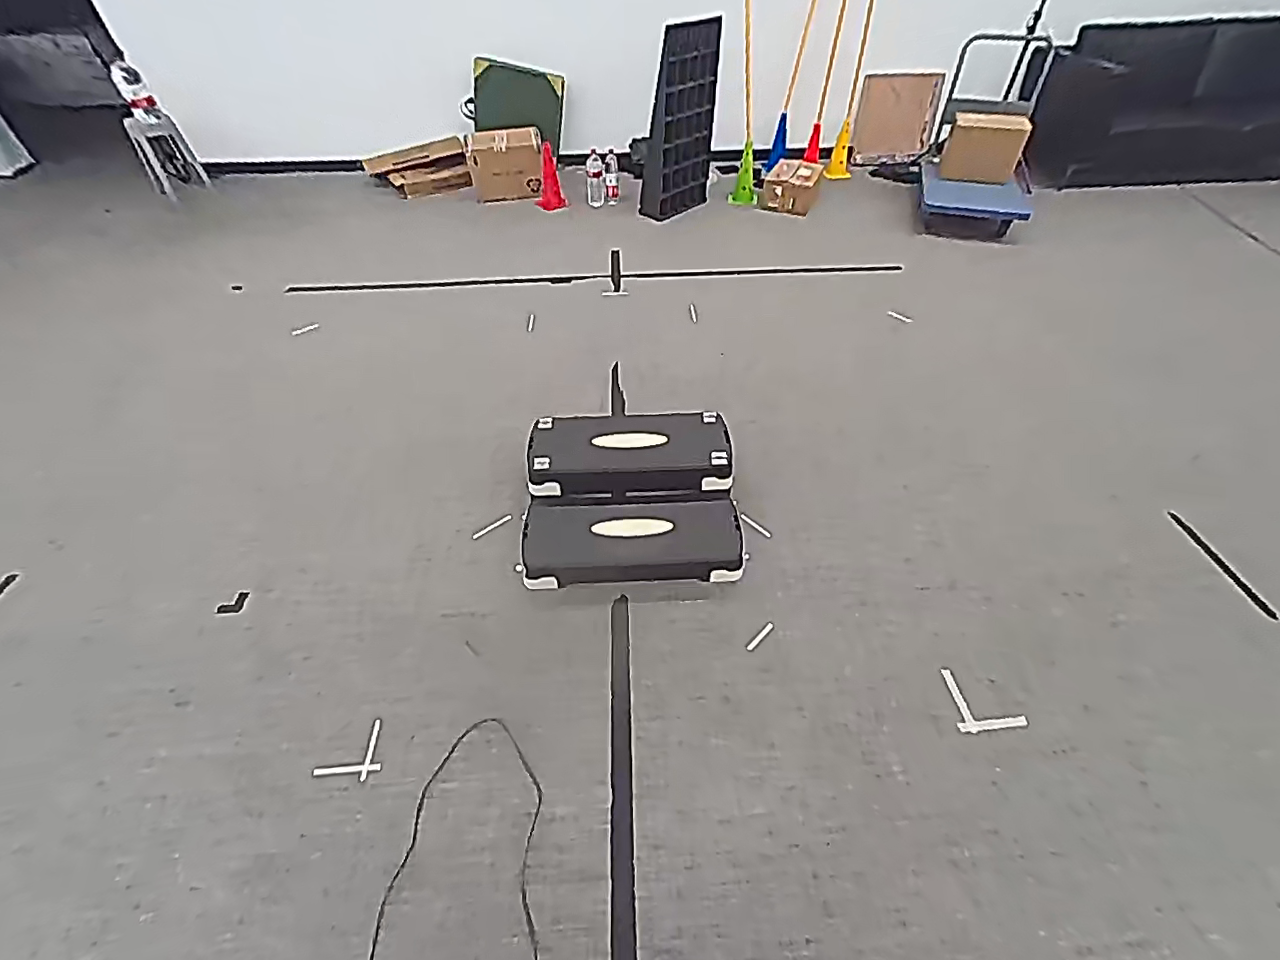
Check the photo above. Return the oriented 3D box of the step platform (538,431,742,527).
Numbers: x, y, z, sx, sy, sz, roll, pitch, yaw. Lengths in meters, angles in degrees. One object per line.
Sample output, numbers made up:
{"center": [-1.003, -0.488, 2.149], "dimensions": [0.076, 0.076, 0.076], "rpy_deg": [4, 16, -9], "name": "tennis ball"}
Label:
{"center": [0.000, -0.010, 1.846], "dimensions": [0.684, 0.204, 0.286], "rpy_deg": [1, 45, 1], "name": "step platform"}
